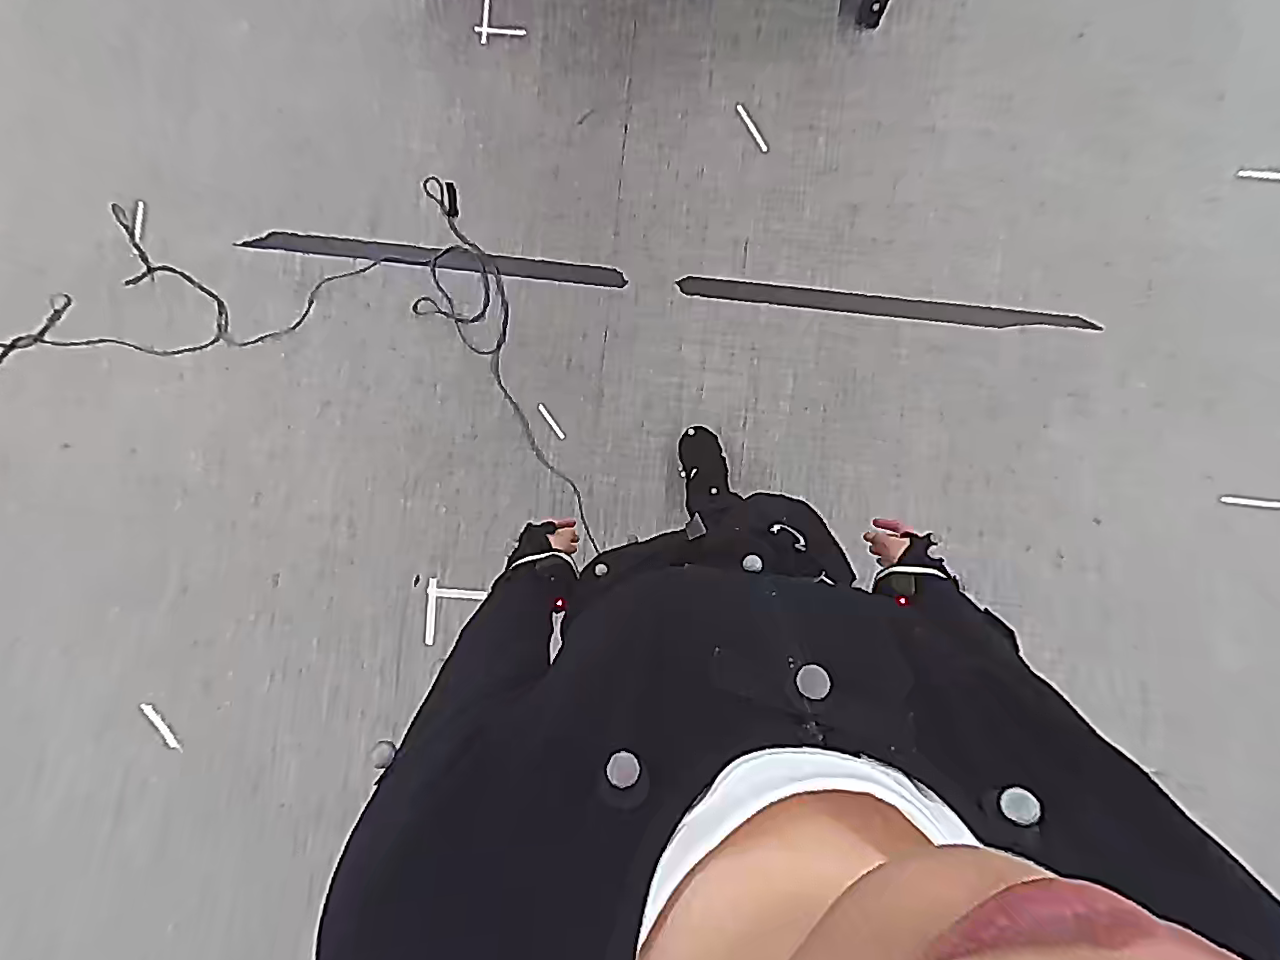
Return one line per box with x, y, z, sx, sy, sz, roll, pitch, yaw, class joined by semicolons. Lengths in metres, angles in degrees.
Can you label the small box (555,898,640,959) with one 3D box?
-0.091;1.018;1.113;0.168;0.176;0.179;7;90;1;small box
